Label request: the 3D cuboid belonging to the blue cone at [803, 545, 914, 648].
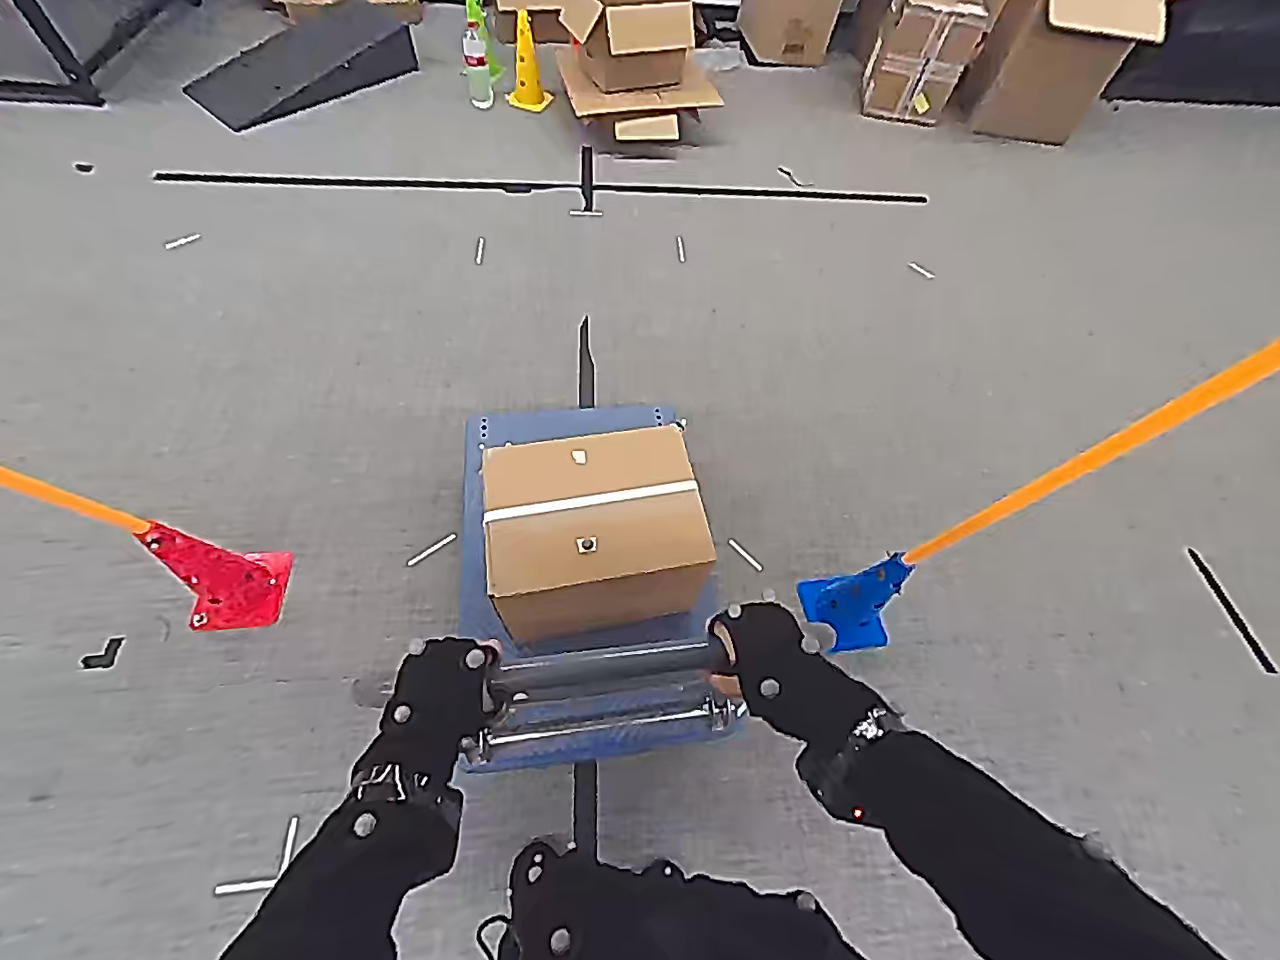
[{"bbox_3d":[0.559,0.262,1.310,0.193,0.380,0.192,-4,58,-8],"label":"blue cone"}]
